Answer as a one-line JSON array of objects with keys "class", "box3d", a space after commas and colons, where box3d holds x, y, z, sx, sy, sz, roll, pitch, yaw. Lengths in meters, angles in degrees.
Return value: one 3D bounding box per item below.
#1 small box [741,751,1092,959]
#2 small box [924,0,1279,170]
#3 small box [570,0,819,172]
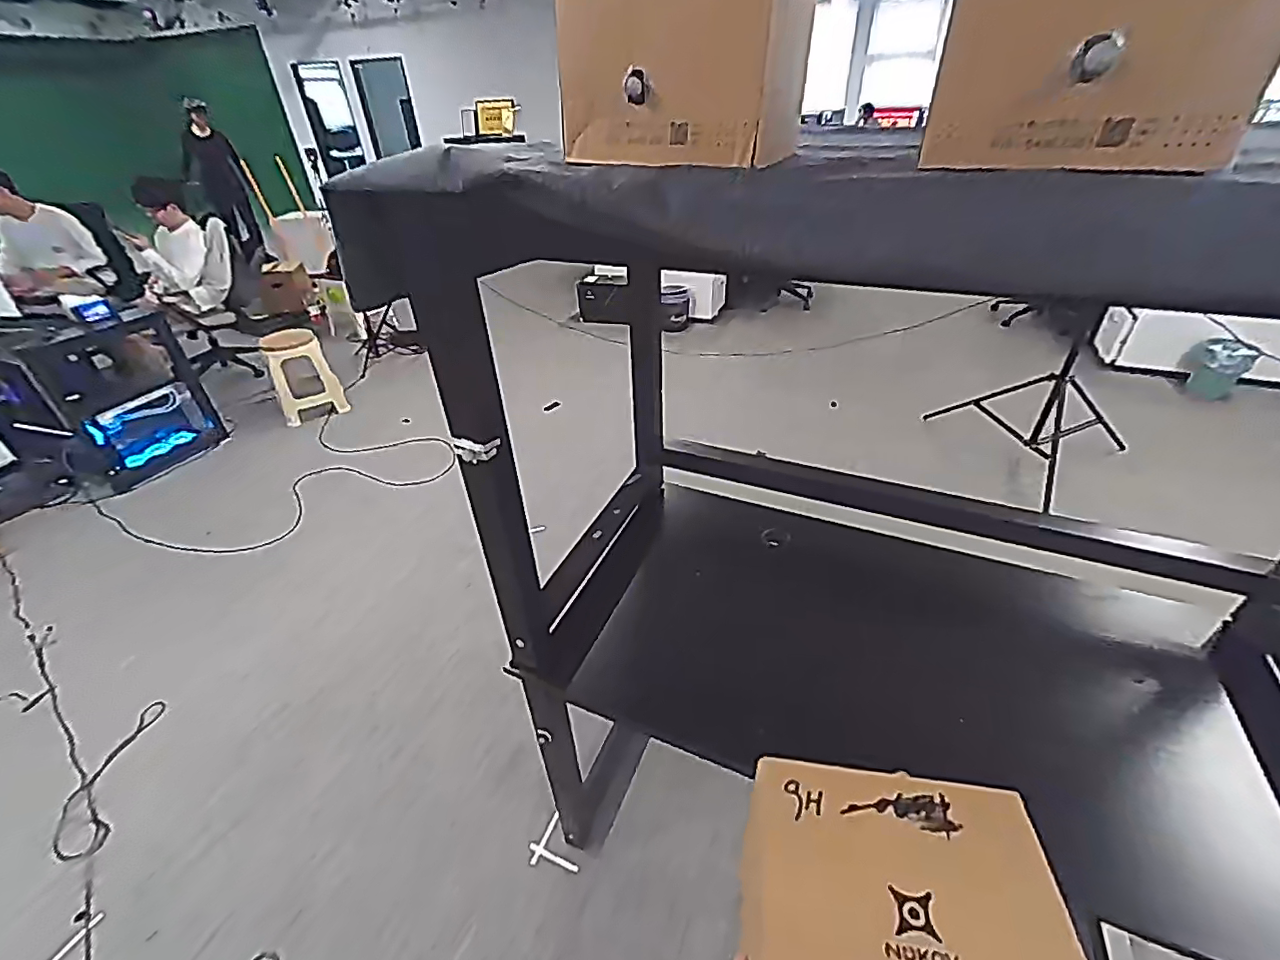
[{"class": "small box", "box3d": [0.151, 0.304, 0.331, 0.168, 0.176, 0.179, 4, 35, 9]}, {"class": "small box", "box3d": [0.296, -0.307, 0.351, 0.168, 0.176, 0.179, 13, 37, 21]}, {"class": "small box", "box3d": [0.048, -0.364, 0.449, 0.168, 0.176, 0.179, 13, 37, 19]}]
